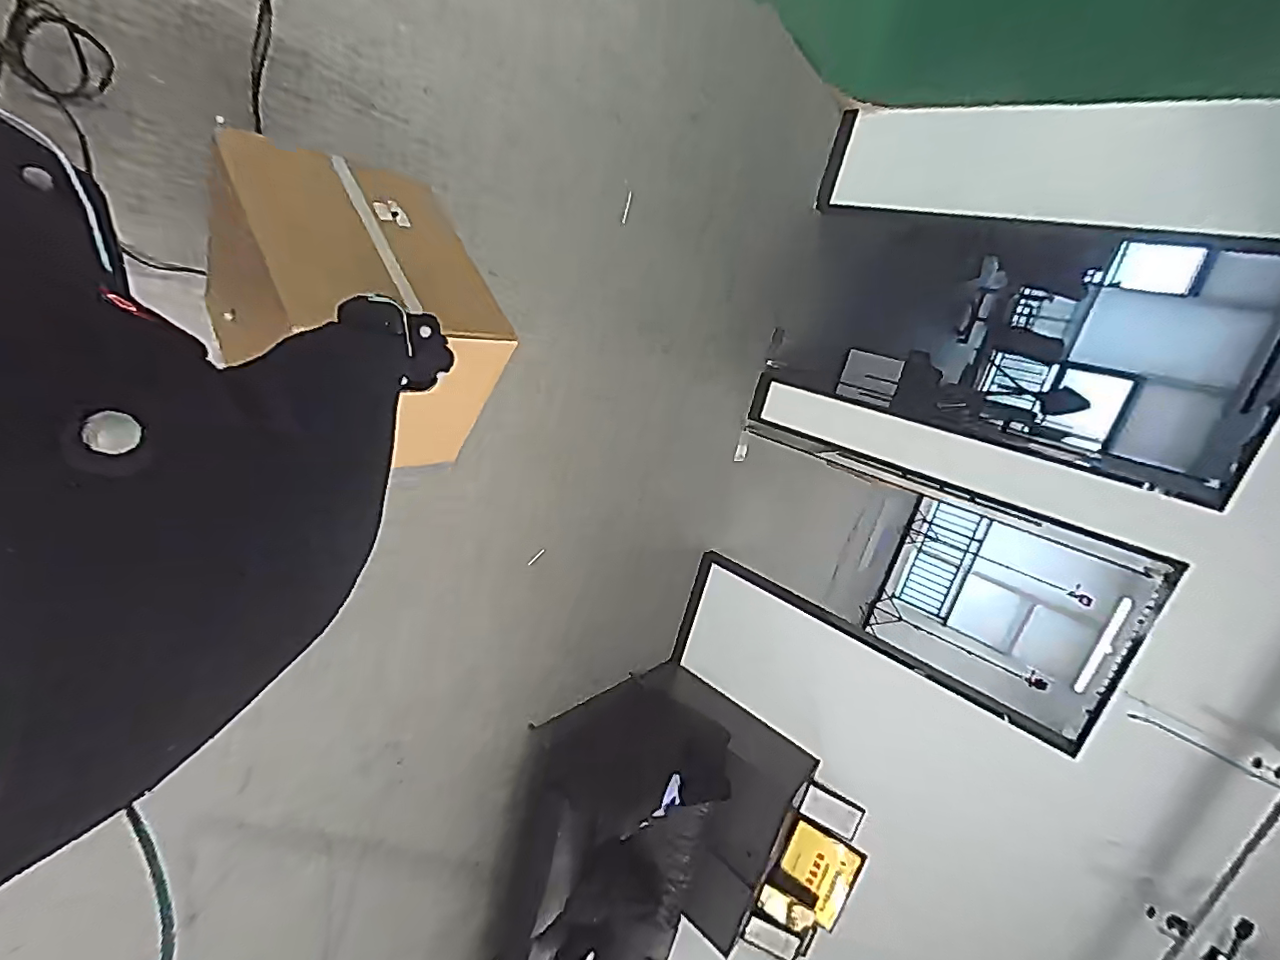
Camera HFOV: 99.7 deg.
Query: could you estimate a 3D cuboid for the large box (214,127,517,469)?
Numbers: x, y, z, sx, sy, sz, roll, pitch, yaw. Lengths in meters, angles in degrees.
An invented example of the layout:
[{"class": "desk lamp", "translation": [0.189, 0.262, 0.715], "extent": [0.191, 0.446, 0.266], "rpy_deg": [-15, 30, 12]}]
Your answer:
[{"class": "large box", "translation": [-0.473, -0.280, 0.903], "extent": [0.320, 0.408, 0.320], "rpy_deg": [-11, 152, -46]}]
